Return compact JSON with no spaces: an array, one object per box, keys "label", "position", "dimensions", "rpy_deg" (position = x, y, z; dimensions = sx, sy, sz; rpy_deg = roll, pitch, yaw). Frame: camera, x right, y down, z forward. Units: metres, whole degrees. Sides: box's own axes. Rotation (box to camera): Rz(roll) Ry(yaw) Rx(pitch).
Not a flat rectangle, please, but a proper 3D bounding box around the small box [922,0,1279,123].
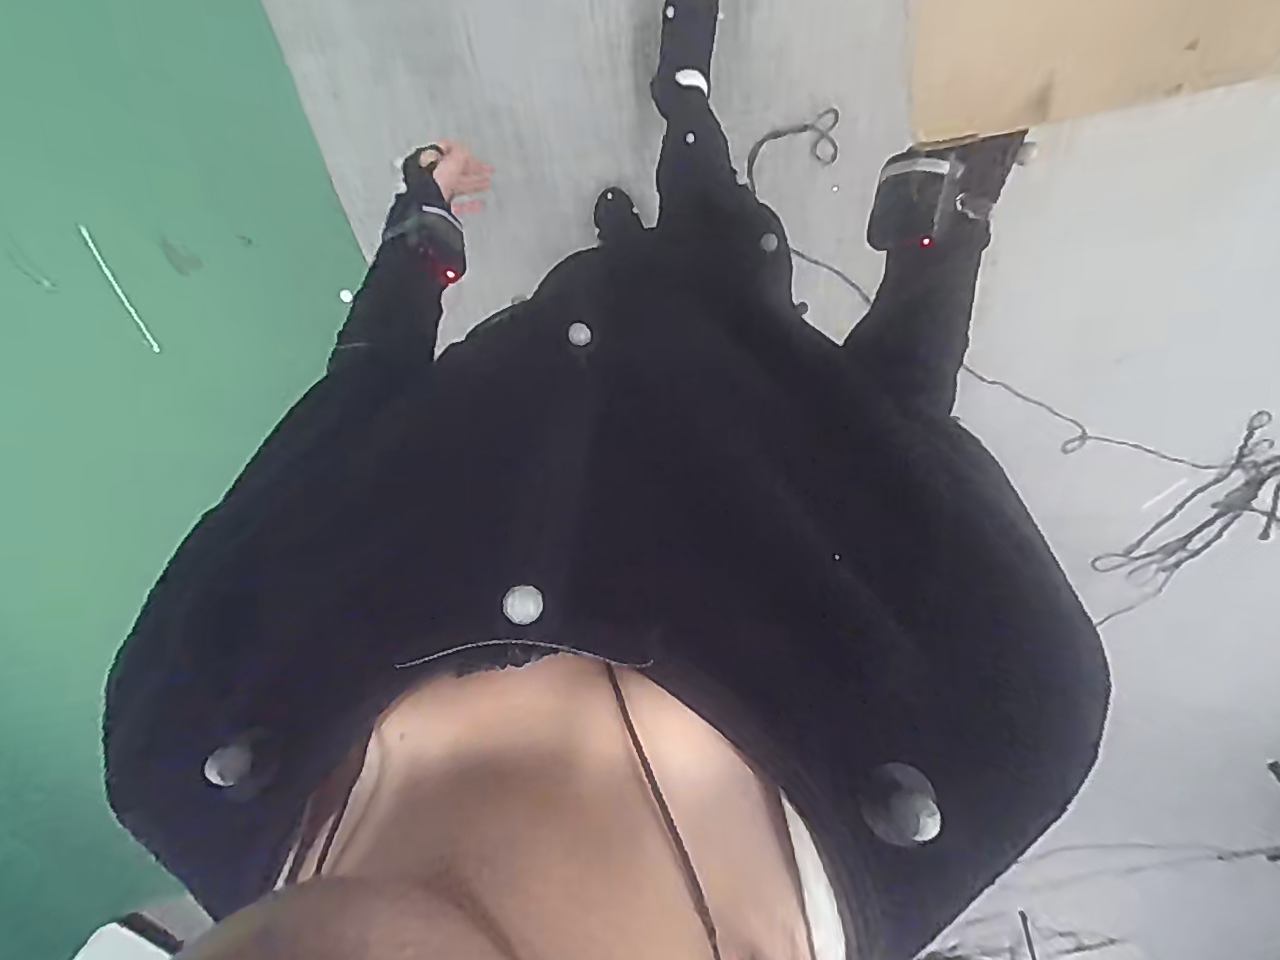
[{"label":"small box","position":[0.219,-0.284,0.212],"dimensions":[0.168,0.179,0.176],"rpy_deg":[15,146,38]}]
